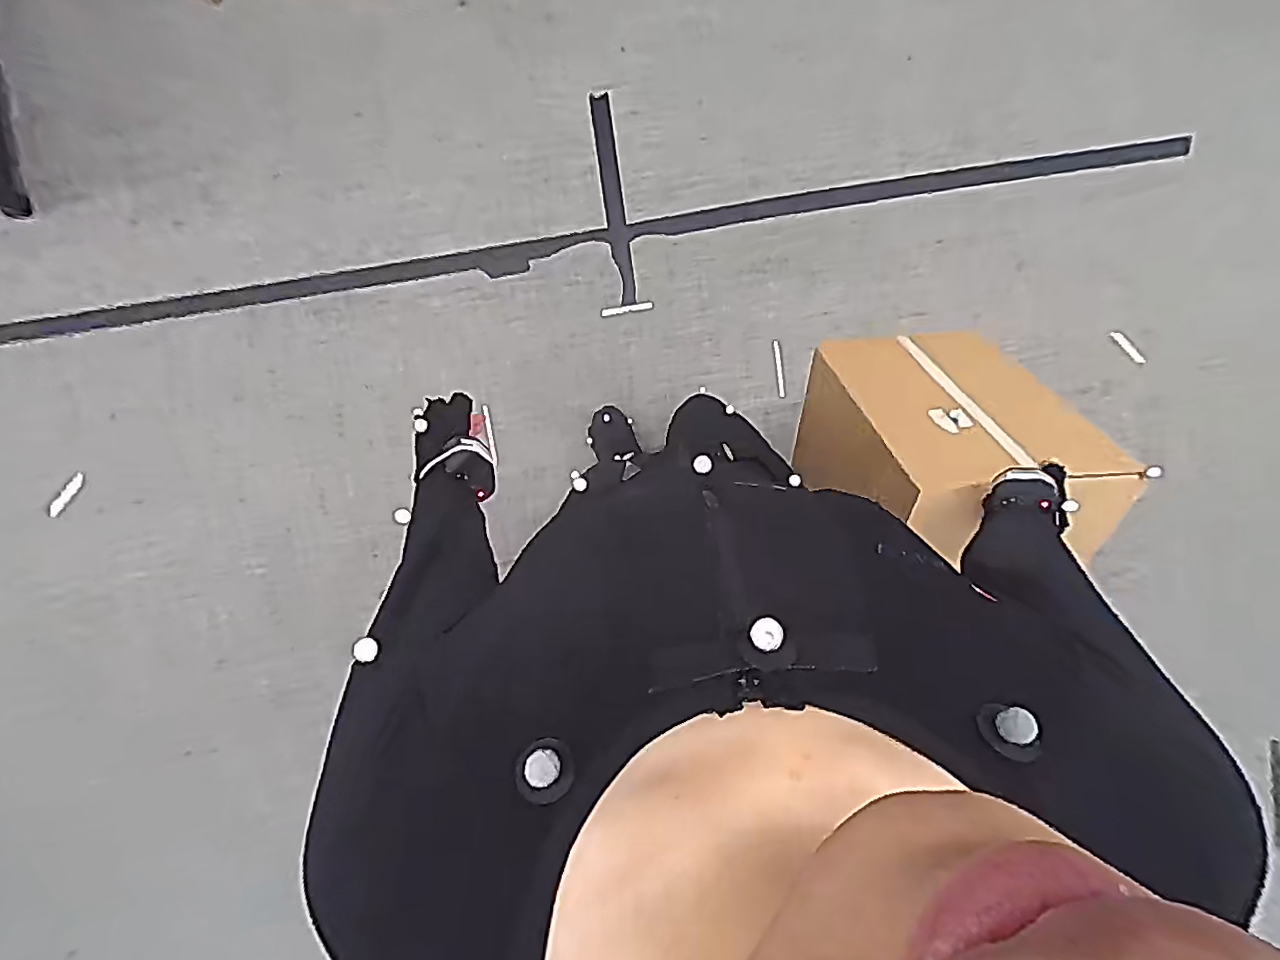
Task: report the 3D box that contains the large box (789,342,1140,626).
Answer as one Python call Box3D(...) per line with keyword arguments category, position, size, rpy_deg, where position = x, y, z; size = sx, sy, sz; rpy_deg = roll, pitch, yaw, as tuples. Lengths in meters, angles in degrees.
Box3D(category="large box", position=(0.494, -0.007, 0.950), size=(0.320, 0.408, 0.320), rpy_deg=(-4, 132, -3))
